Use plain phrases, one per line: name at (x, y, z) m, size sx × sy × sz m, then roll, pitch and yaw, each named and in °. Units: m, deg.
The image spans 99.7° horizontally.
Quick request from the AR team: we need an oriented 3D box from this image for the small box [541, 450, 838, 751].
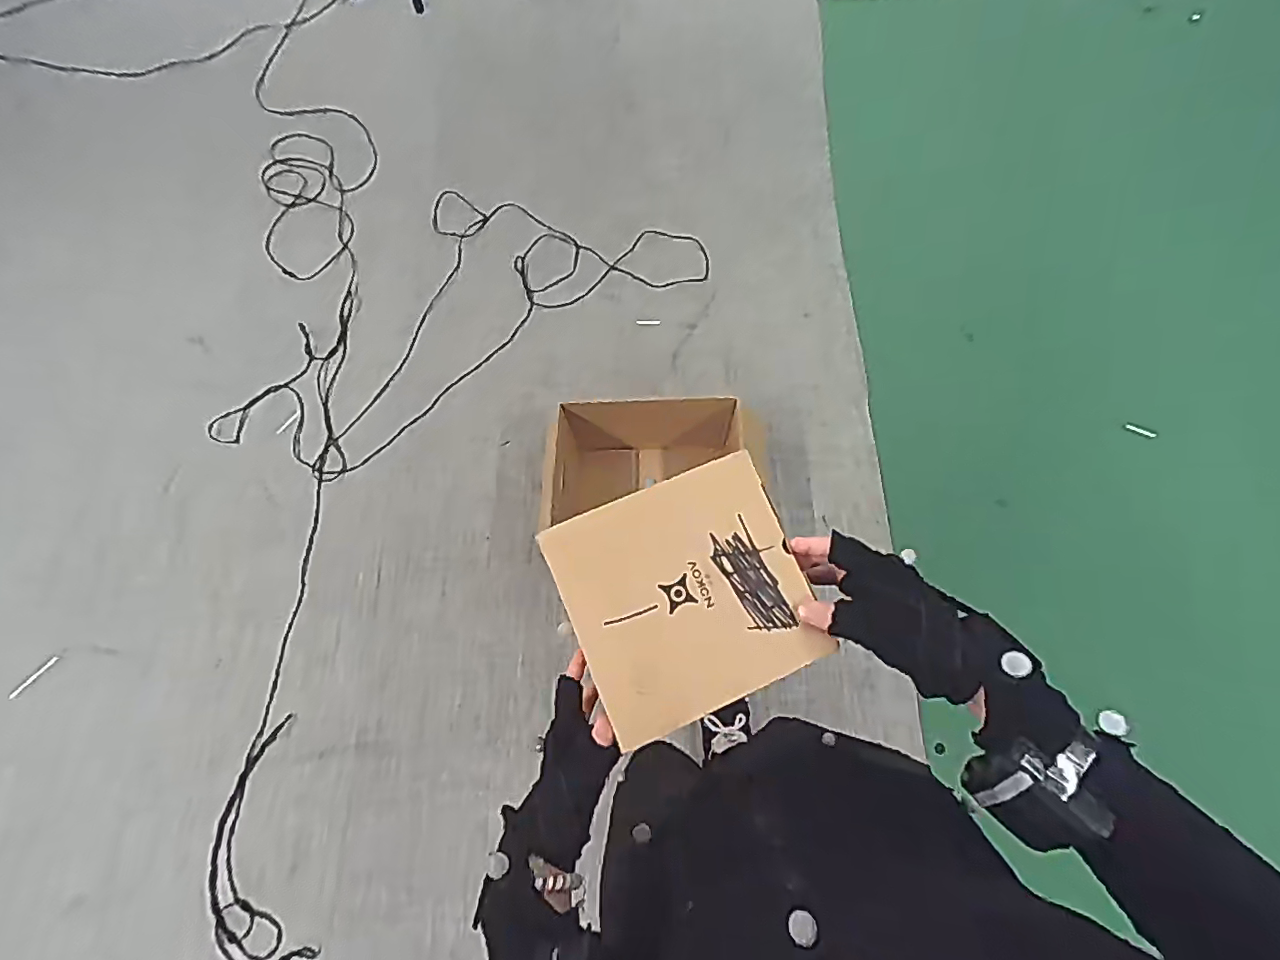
small box at (0.028, 0.095, 0.466) m, size 0.179 × 0.176 × 0.168 m, roll -22°, pitch 80°, yaw -9°
